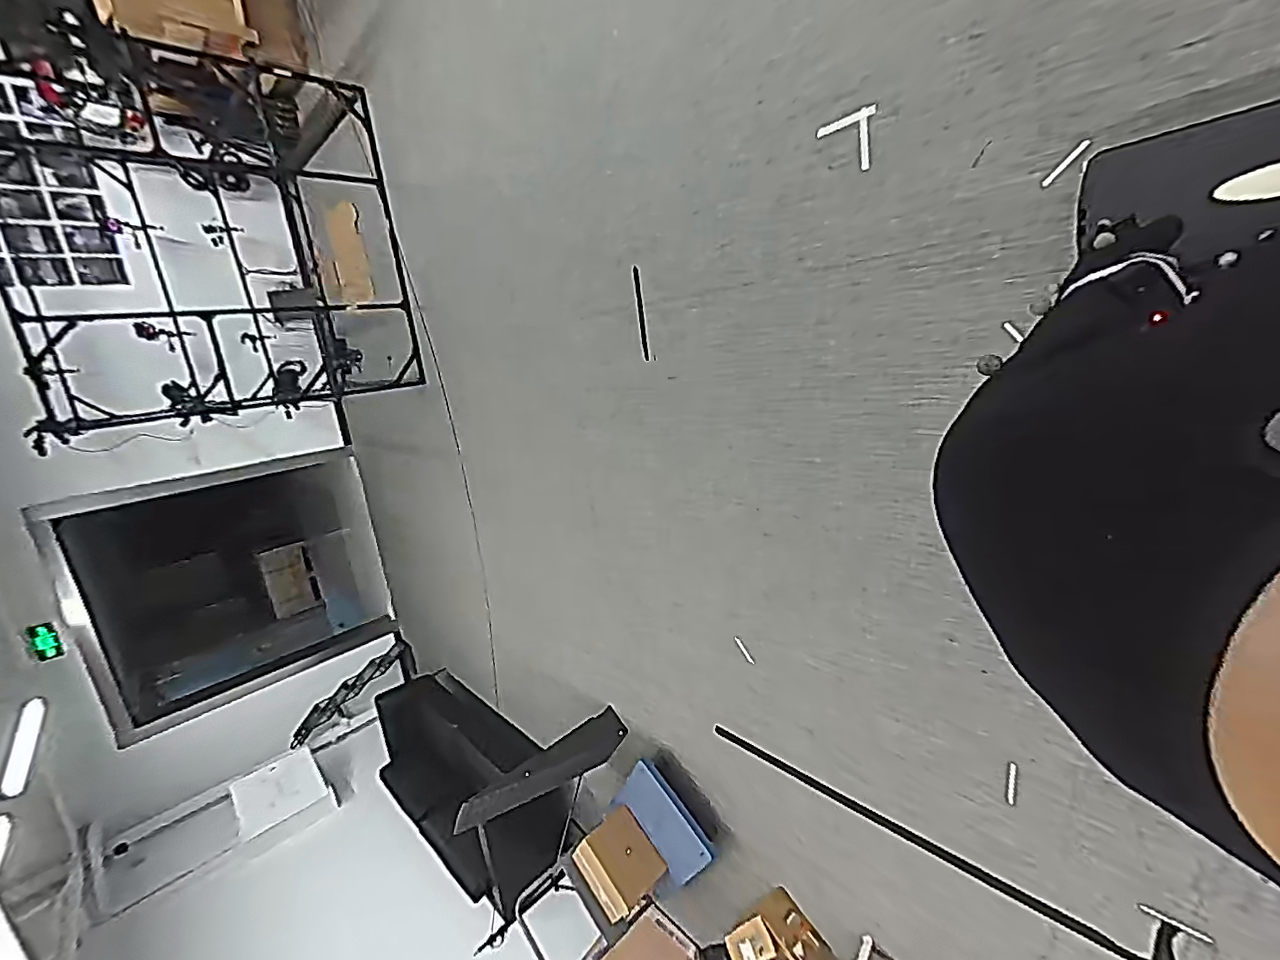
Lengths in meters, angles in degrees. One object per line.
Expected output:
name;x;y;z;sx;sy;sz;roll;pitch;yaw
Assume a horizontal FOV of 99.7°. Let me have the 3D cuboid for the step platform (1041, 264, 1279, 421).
step platform;1.195;-0.264;1.037;0.684;0.204;0.286;7;109;48
